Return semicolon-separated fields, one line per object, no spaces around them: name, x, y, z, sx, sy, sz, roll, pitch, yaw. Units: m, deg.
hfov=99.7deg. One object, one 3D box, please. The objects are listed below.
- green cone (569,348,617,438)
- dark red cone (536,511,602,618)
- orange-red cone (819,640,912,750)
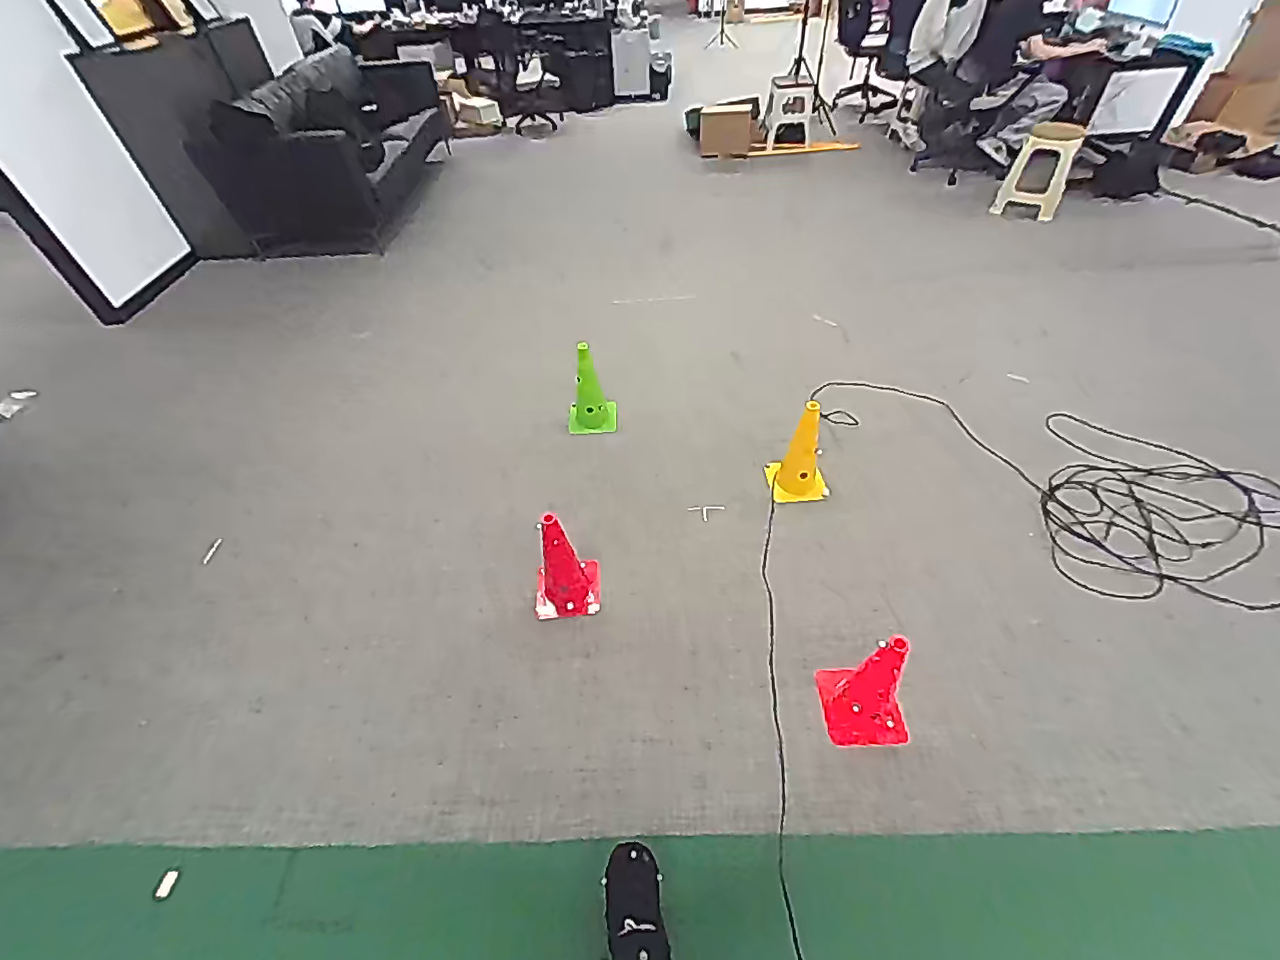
green cone;-0.205;-0.366;2.182;0.202;0.368;0.200;-3;46;0
dark red cone;-0.232;0.228;1.578;0.202;0.394;0.201;-7;47;-2
orange-red cone;0.577;0.484;1.298;0.198;0.360;0.199;-2;45;2
